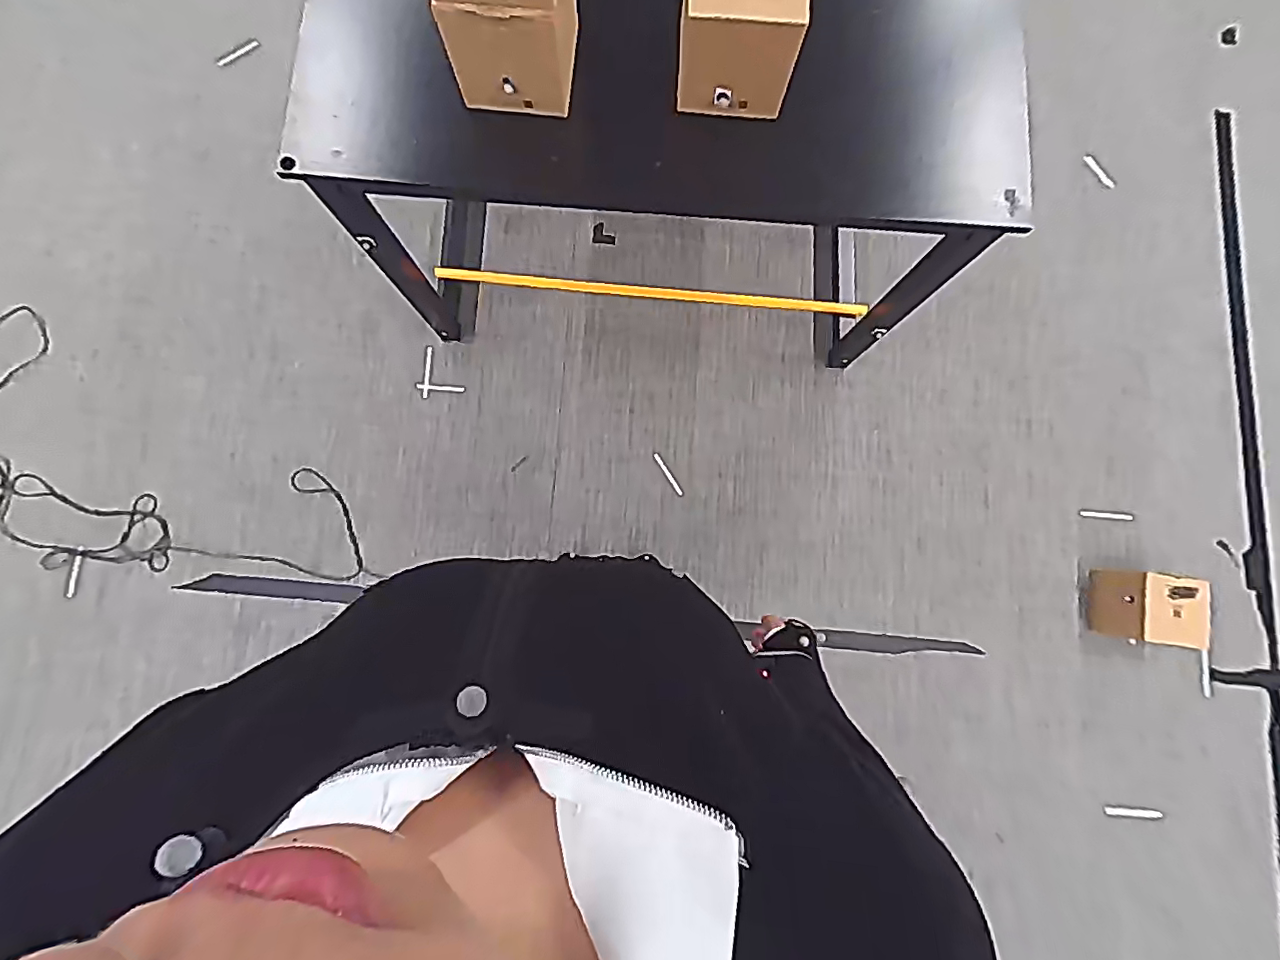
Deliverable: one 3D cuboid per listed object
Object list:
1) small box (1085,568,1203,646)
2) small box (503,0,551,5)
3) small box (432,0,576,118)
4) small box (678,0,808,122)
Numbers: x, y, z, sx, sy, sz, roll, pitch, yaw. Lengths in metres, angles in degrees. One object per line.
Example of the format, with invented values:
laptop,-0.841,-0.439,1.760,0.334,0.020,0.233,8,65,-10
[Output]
small box,1.346,0.334,1.453,0.168,0.176,0.179,8,83,0
small box,-0.186,-0.720,0.644,0.168,0.176,0.179,3,83,-2
small box,-0.189,-0.689,0.805,0.168,0.176,0.179,5,82,-1
small box,0.148,-0.689,0.818,0.168,0.176,0.179,3,83,0
